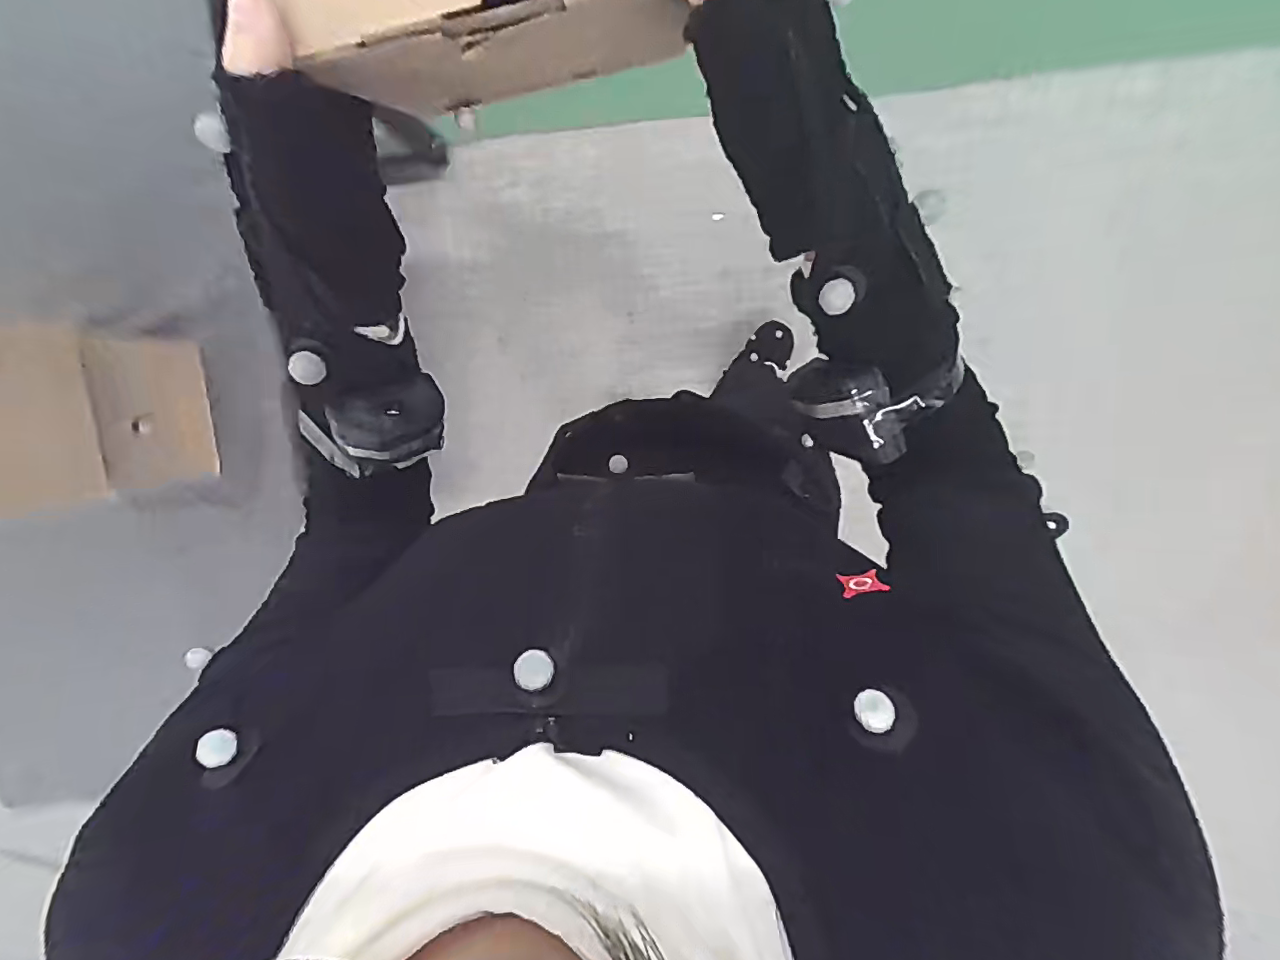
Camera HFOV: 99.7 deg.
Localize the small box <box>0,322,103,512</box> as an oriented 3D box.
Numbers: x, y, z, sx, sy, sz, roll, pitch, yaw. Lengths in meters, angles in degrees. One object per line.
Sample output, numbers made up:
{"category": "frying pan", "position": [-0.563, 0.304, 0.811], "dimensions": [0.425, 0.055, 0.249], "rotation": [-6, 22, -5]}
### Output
{"category": "small box", "position": [-0.651, -0.051, 0.481], "dimensions": [0.168, 0.176, 0.179], "rotation": [-6, 99, 7]}
